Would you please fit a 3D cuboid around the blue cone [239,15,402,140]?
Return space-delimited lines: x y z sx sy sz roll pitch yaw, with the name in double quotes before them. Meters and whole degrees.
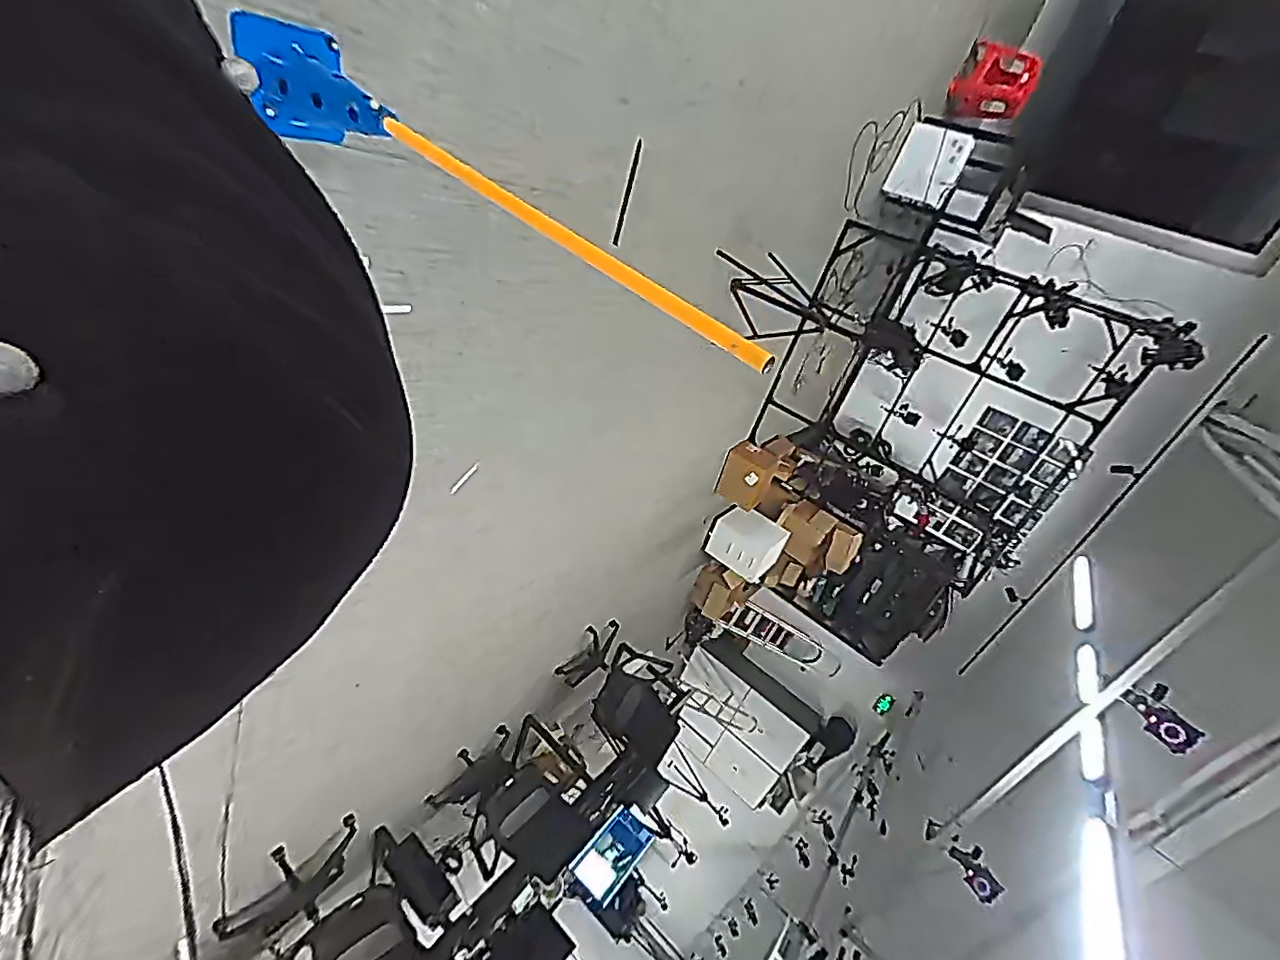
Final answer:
"blue cone" -0.581 -0.737 1.044 0.193 0.380 0.192 -27 142 -48
